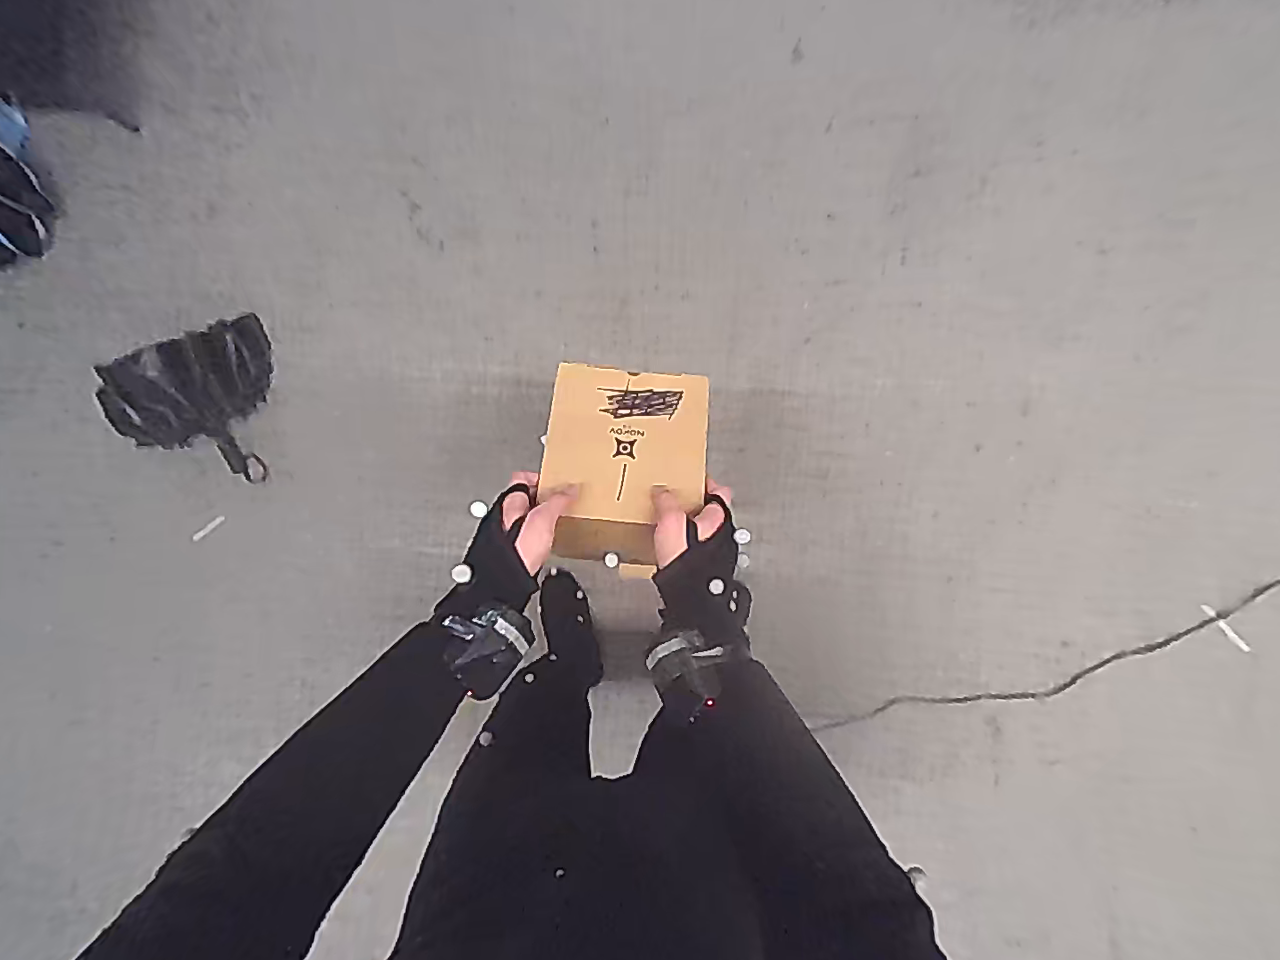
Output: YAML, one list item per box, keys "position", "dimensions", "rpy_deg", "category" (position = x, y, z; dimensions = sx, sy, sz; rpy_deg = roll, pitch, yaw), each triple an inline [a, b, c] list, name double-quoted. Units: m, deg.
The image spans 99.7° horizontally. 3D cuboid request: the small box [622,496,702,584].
- position: [0.050, 0.127, 1.213]
  dimensions: [0.168, 0.176, 0.179]
  rpy_deg: [1, 92, 5]
  category: "small box"
